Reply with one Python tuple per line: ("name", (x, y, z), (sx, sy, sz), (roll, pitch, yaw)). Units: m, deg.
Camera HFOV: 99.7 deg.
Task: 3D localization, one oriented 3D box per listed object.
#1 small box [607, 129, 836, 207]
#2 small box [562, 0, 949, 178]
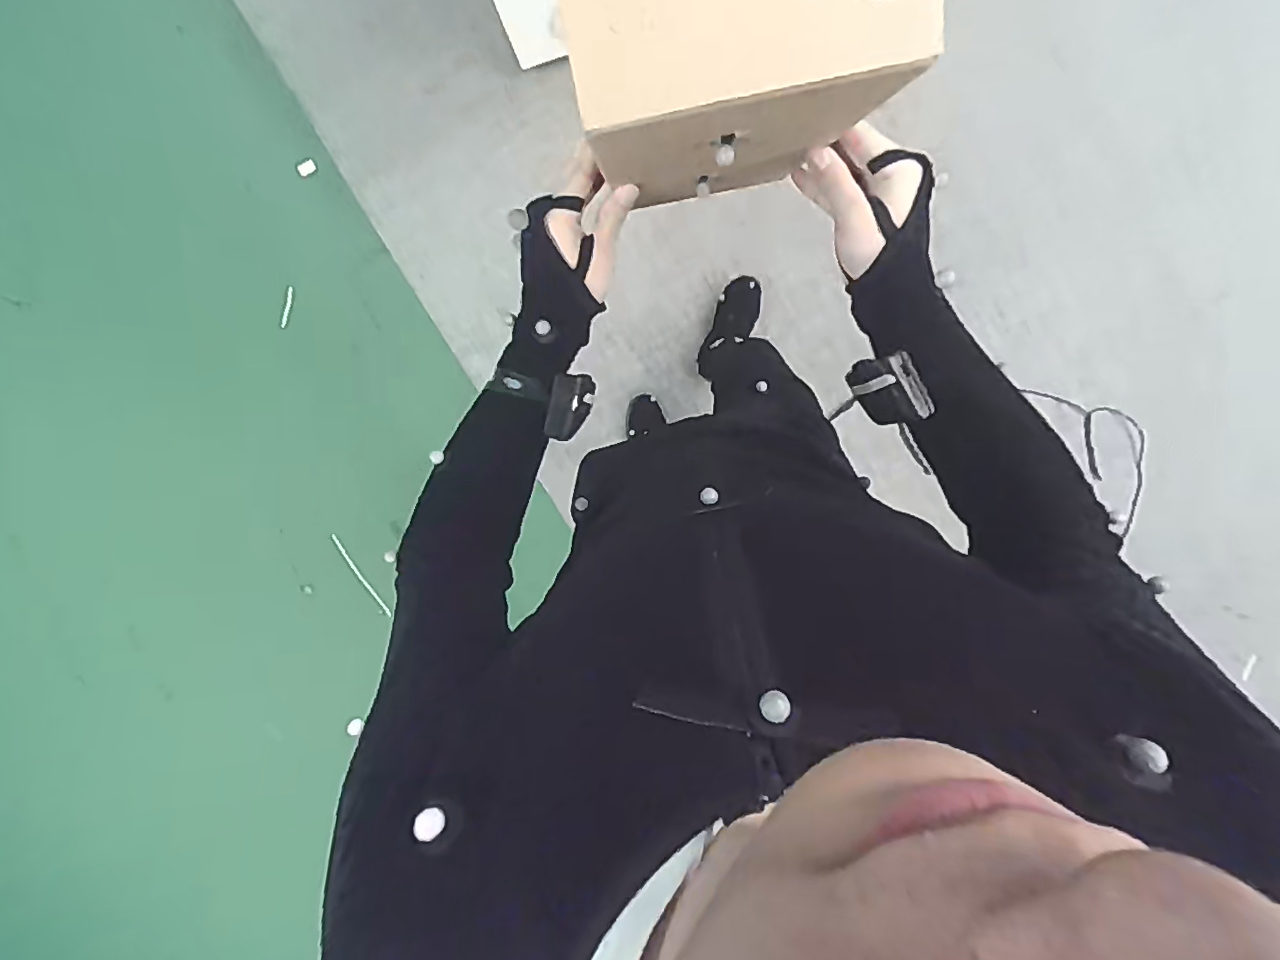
("small box", (0.052, -0.344, 0.460), (0.179, 0.176, 0.168), (-8, 109, 4))
("small box", (0.047, -0.289, 0.305), (0.179, 0.176, 0.168), (-8, 109, 5))
